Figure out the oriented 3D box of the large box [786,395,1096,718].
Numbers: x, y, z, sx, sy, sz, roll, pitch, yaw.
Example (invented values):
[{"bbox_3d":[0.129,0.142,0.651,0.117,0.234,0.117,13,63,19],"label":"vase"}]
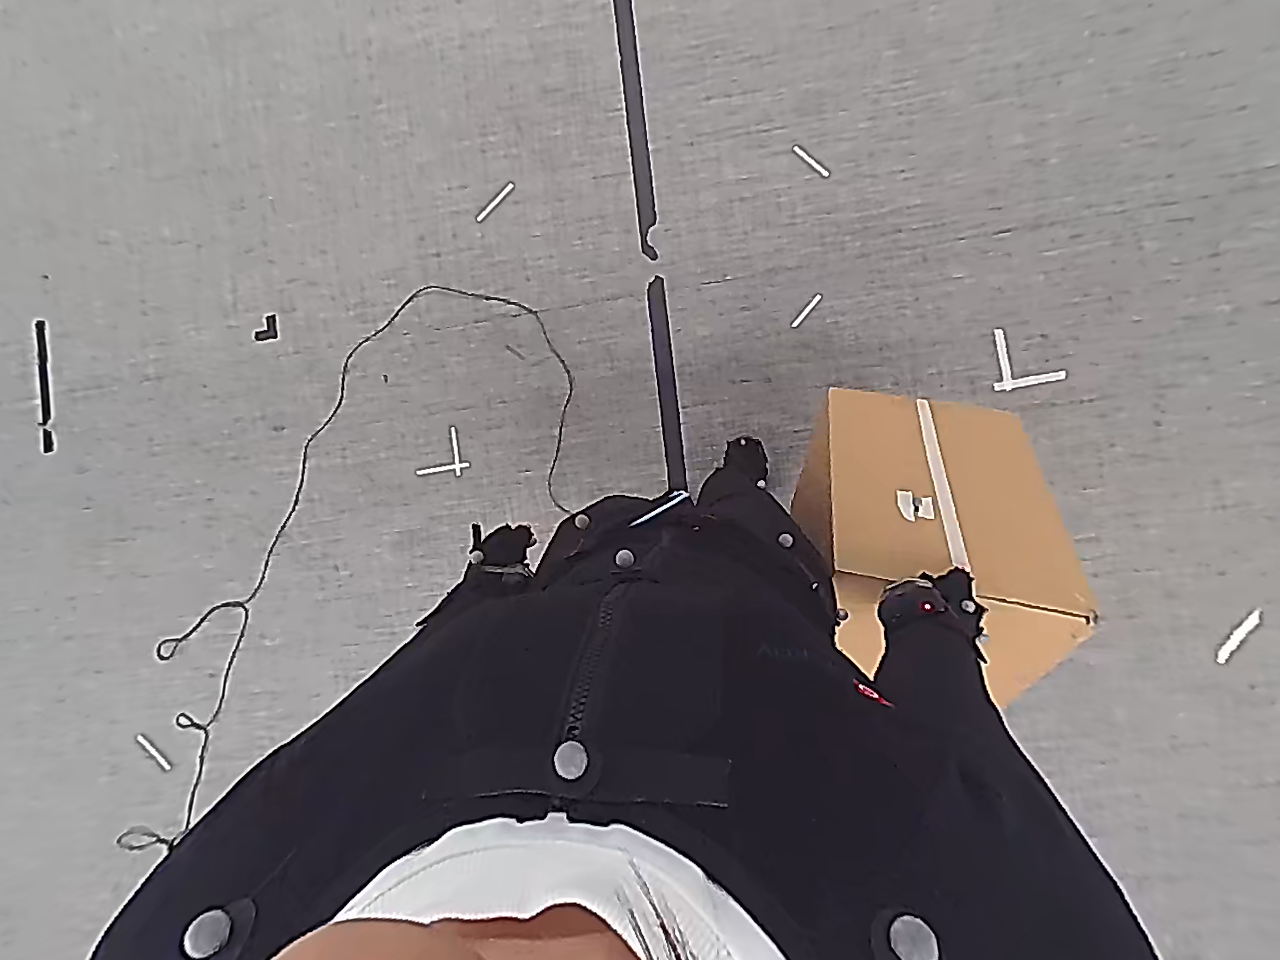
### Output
[{"bbox_3d":[0.434,0.115,0.908,0.320,0.320,0.408,9,46,8],"label":"large box"}]
